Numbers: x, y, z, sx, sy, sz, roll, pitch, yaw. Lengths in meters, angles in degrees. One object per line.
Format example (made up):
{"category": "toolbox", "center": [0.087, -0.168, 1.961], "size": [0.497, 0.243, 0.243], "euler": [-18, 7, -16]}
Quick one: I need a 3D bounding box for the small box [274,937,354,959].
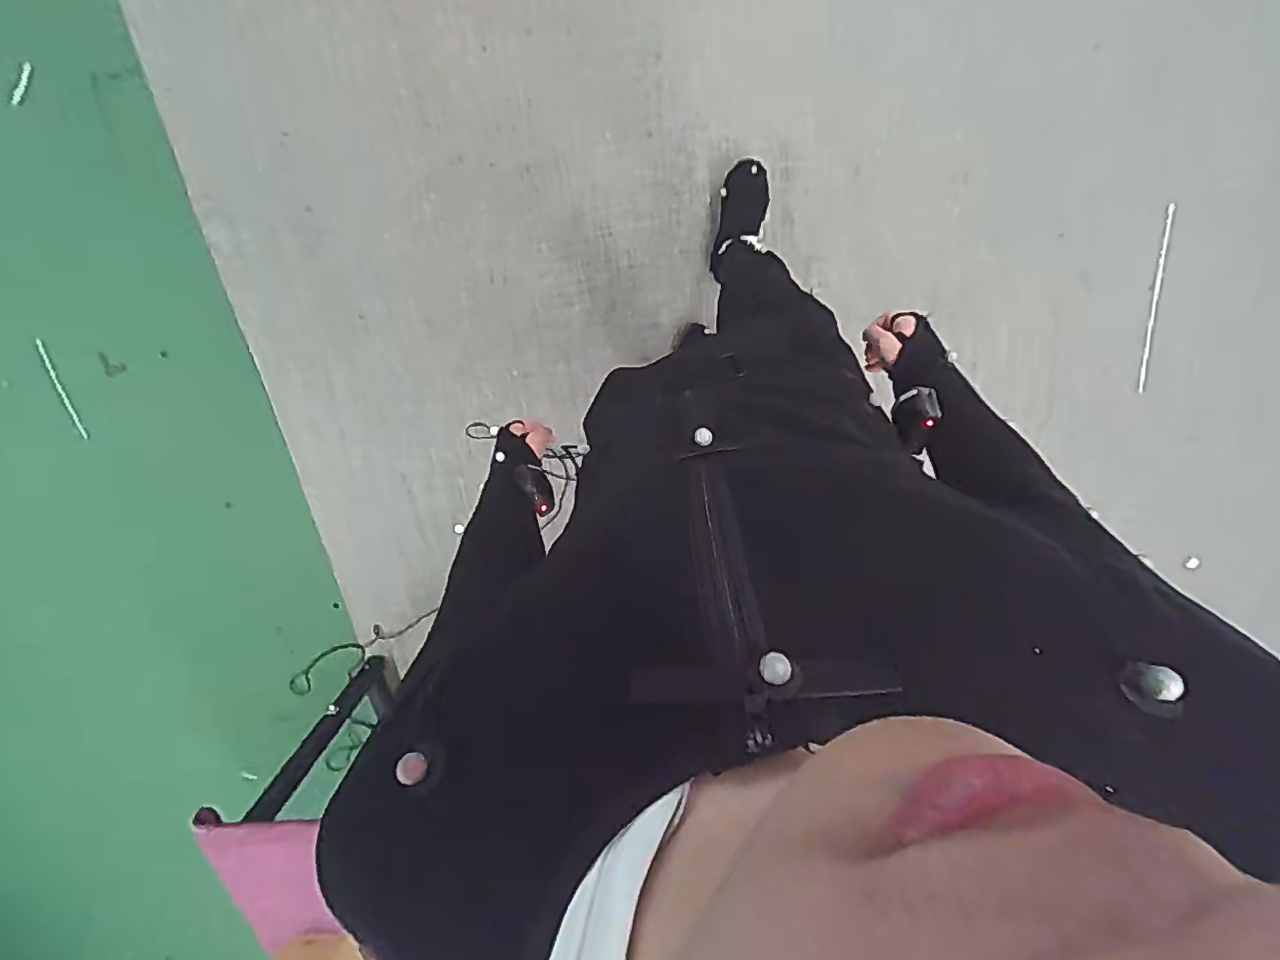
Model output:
{"category": "small box", "center": [-0.818, 1.269, 1.326], "size": [0.168, 0.176, 0.179], "euler": [-7, 110, 5]}
